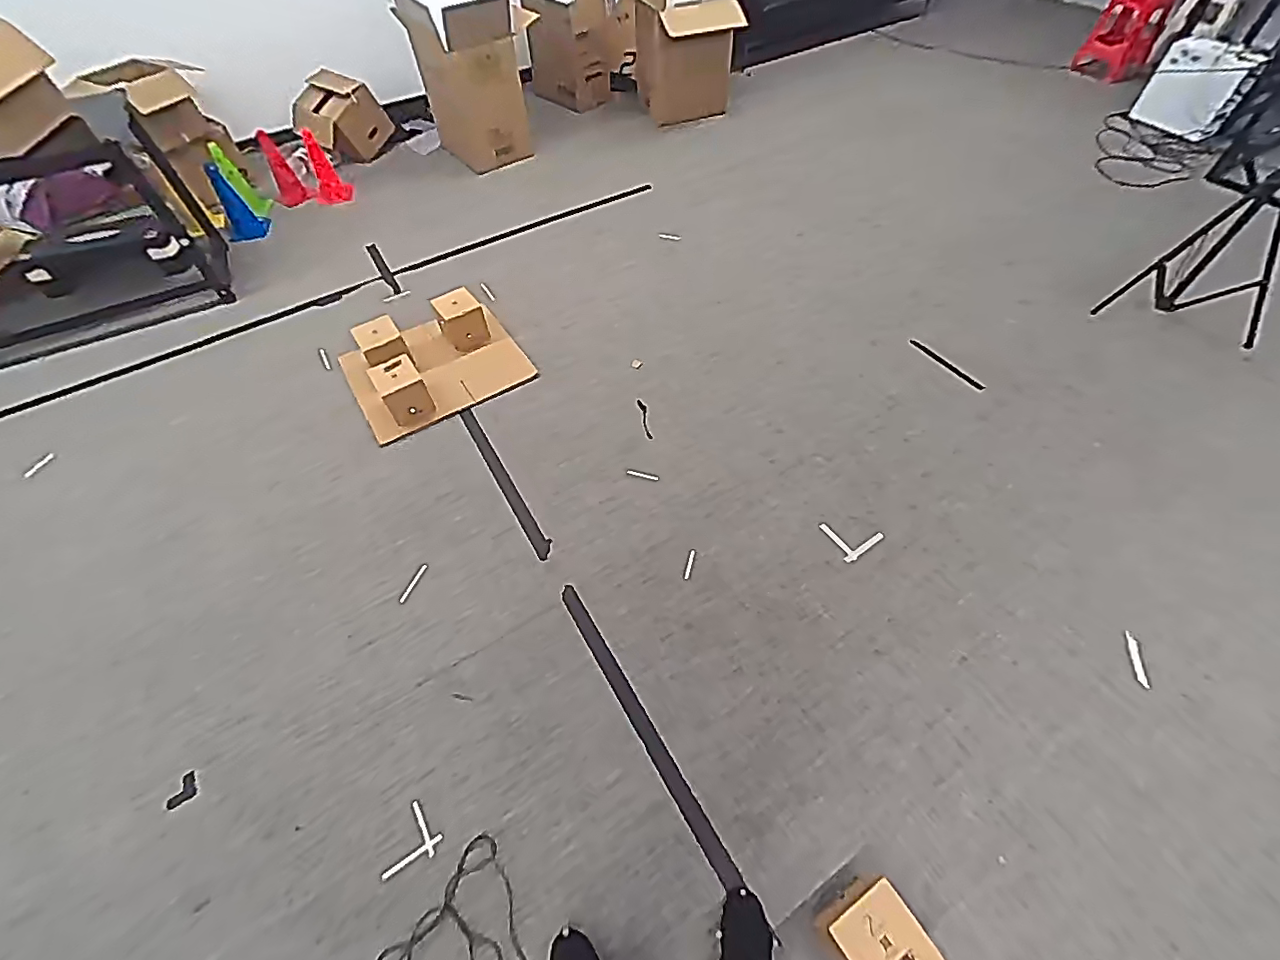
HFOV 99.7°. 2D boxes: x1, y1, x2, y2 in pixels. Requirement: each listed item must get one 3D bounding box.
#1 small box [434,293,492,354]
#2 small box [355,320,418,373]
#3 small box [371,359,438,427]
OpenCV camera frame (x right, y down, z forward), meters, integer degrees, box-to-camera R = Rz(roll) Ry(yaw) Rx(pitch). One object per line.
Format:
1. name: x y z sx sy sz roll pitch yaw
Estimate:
1. small box: -0.784 -0.694 2.403 0.168 0.176 0.179 -32 59 -19
2. small box: -1.072 -0.542 2.296 0.168 0.176 0.179 -30 59 -17
3. small box: -0.932 -0.343 2.148 0.168 0.176 0.179 -30 60 -17
